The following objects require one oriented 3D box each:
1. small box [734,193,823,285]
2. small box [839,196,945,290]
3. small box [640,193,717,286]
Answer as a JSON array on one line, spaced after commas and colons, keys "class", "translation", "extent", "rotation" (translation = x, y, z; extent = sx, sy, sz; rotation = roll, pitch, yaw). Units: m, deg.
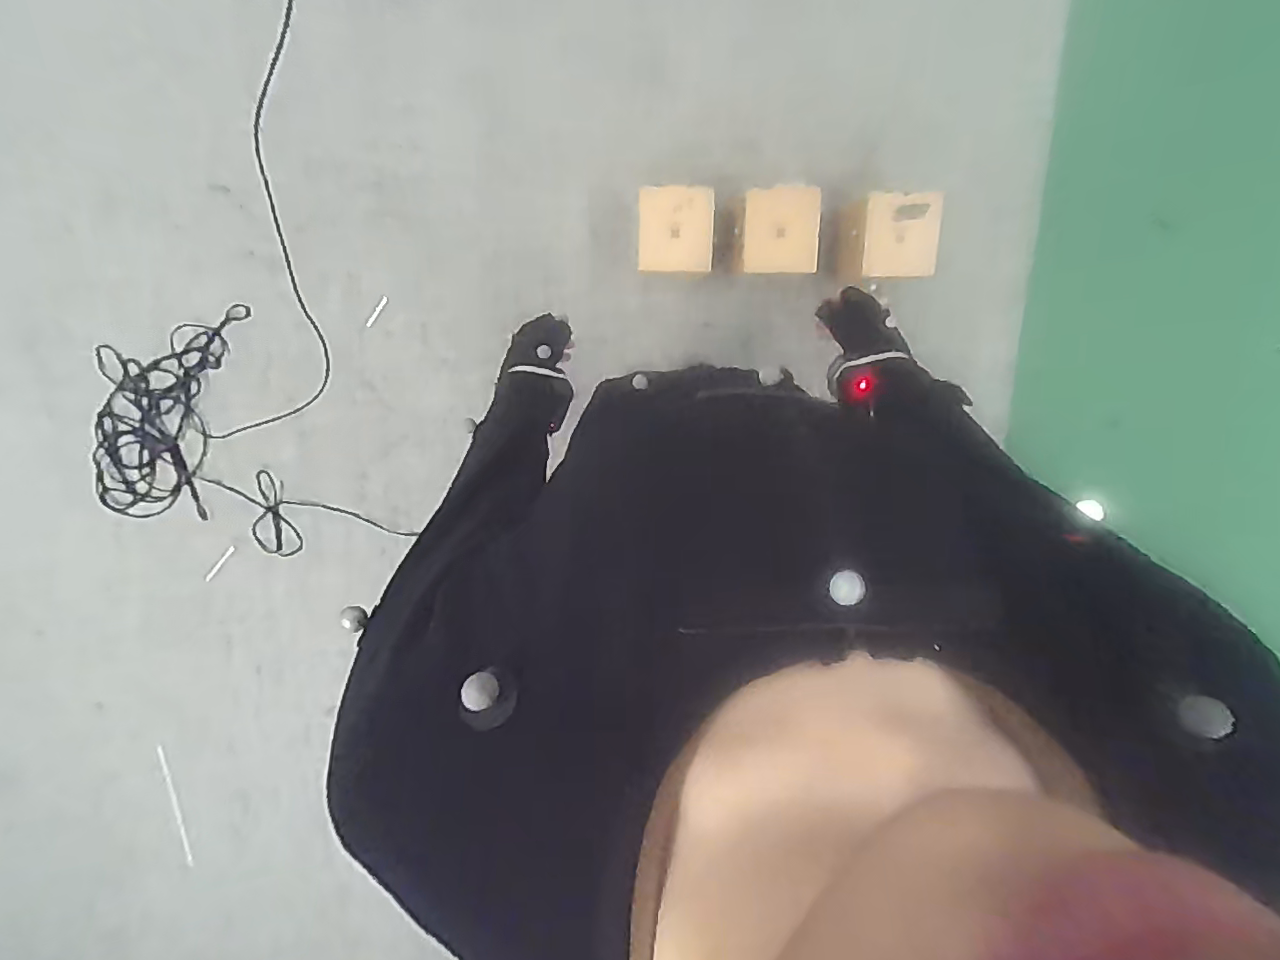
[{"class": "small box", "translation": [0.317, -0.556, 1.269], "extent": [0.168, 0.176, 0.179], "rotation": [-1, 103, 1]}, {"class": "small box", "translation": [0.581, -0.549, 1.267], "extent": [0.168, 0.176, 0.179], "rotation": [0, 104, 1]}, {"class": "small box", "translation": [0.085, -0.557, 1.270], "extent": [0.168, 0.176, 0.179], "rotation": [1, 103, 0]}]
